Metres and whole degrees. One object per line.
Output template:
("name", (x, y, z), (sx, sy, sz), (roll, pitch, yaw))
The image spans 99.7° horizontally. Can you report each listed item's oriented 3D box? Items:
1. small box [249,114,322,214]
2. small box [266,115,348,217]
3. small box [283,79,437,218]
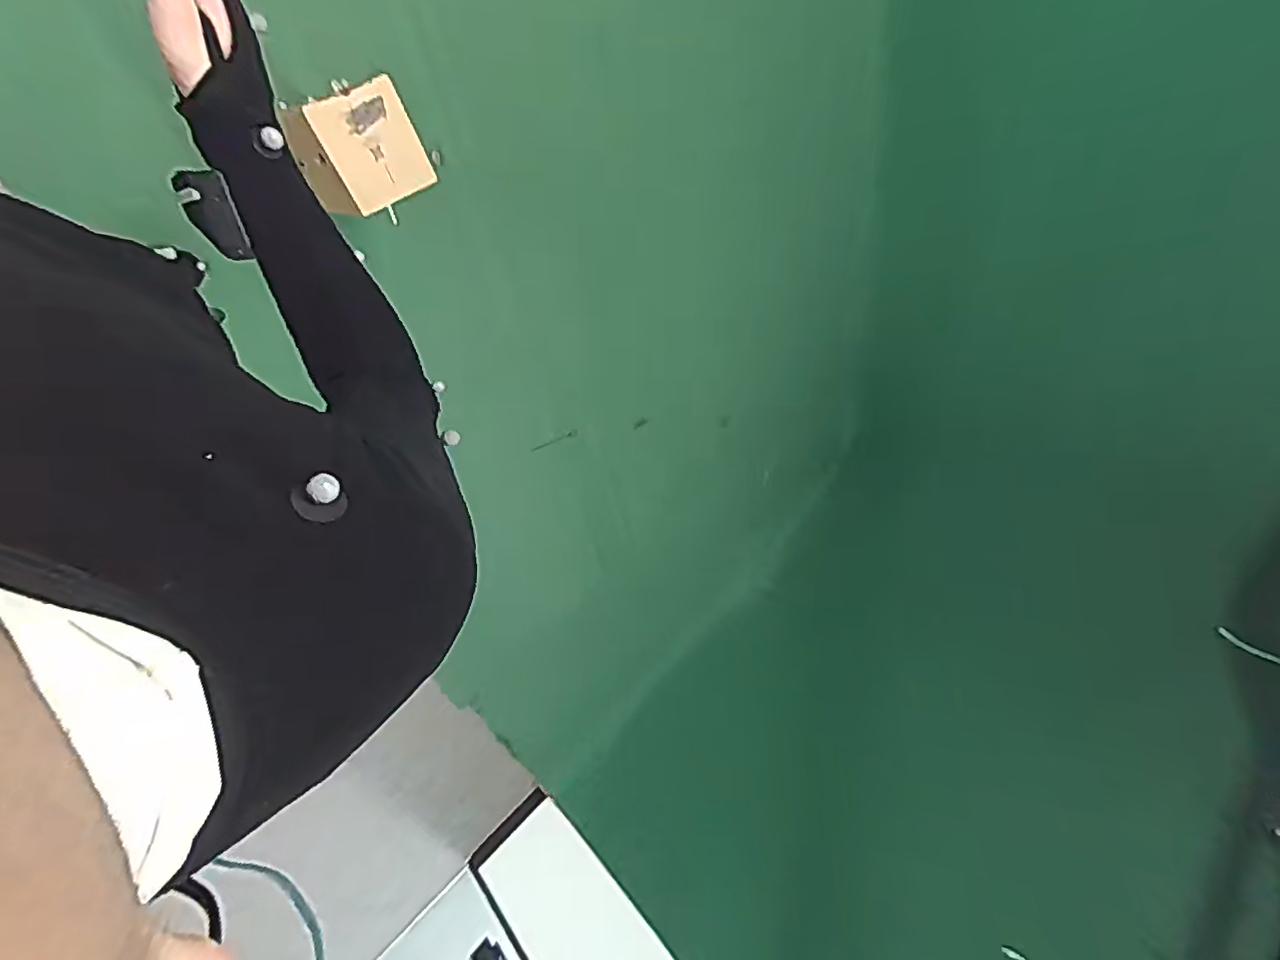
("small box", (-0.740, -0.730, 1.229), (0.168, 0.176, 0.179), (-41, 136, -23))
("small box", (-0.632, -0.671, 1.124), (0.168, 0.176, 0.179), (-39, 134, -24))
("small box", (-0.525, -0.615, 1.013), (0.168, 0.176, 0.179), (-41, 136, -22))
